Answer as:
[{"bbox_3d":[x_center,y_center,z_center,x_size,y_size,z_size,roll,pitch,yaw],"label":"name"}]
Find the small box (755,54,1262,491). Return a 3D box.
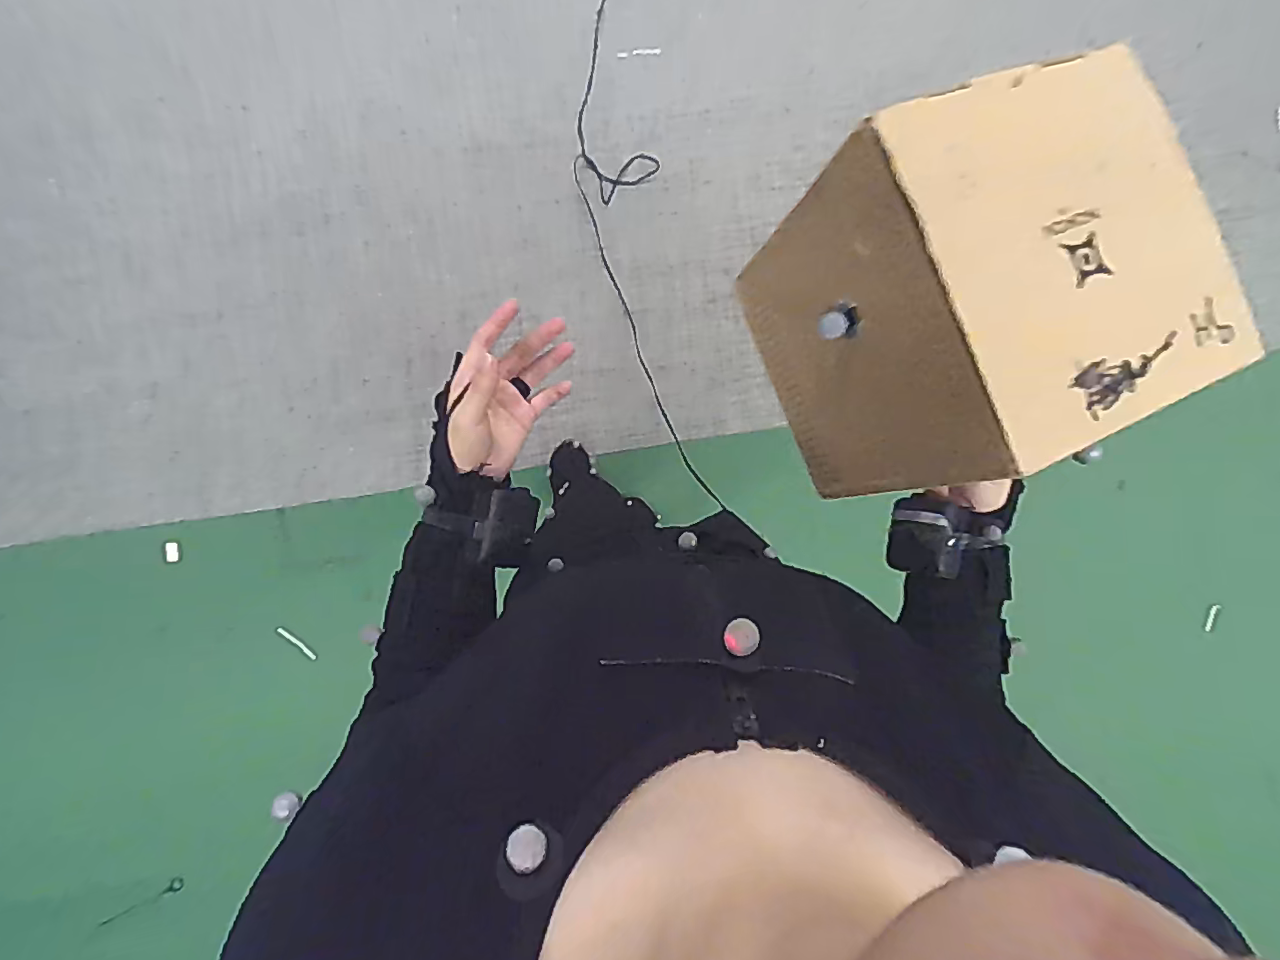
[{"bbox_3d":[0.198,-0.106,0.341,0.168,0.176,0.179,-22,88,-12],"label":"small box"}]
